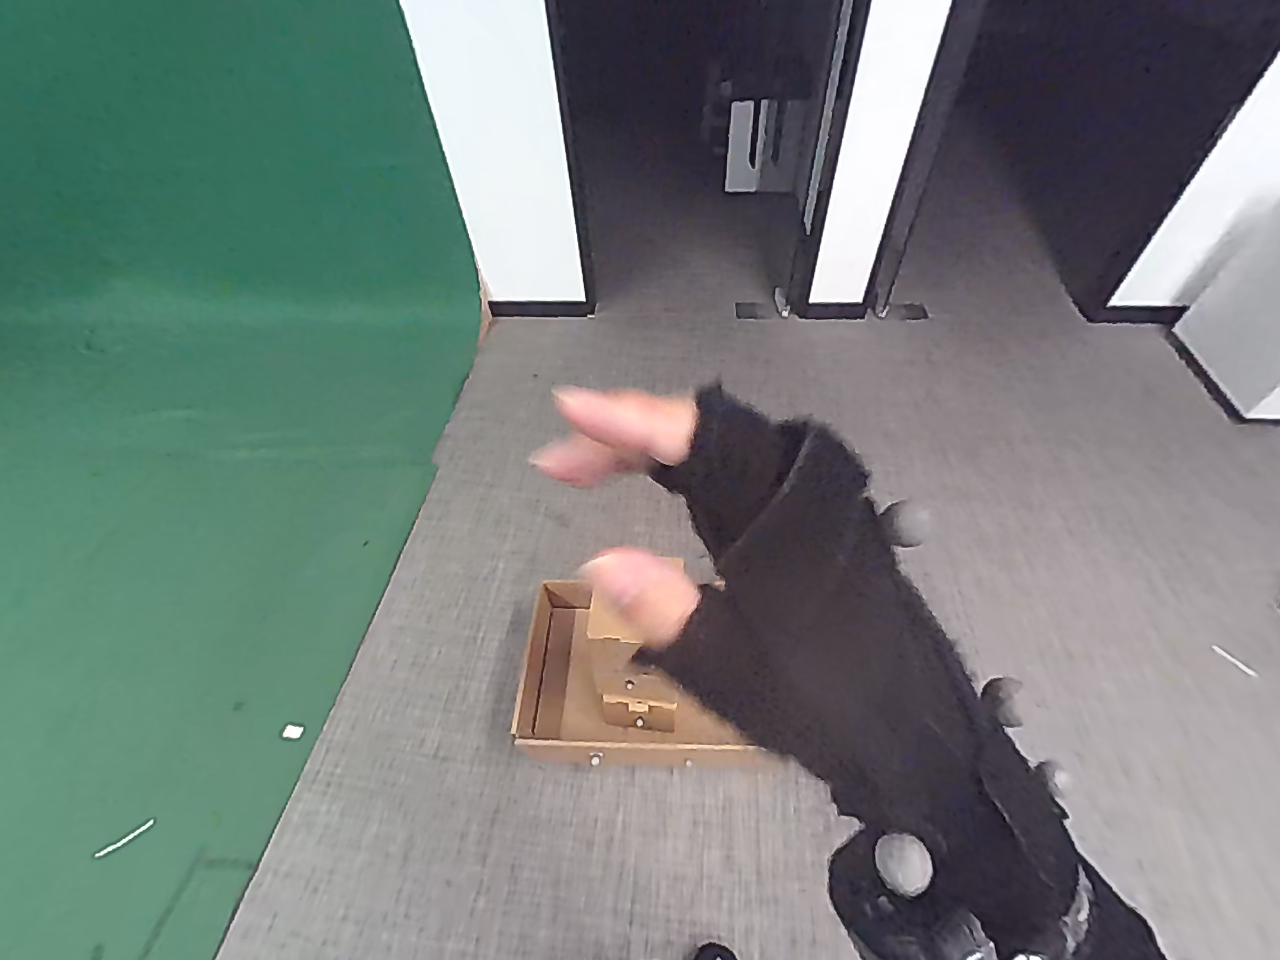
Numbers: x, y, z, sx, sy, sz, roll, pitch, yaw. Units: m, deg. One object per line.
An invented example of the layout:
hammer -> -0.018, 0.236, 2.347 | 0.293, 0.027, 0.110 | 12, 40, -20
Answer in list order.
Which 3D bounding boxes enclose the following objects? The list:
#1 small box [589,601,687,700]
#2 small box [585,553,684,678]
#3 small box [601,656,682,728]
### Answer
small box -> 0.003, 0.361, 1.171 | 0.179, 0.176, 0.168 | 6, 50, 9
small box -> -0.004, 0.263, 1.041 | 0.168, 0.176, 0.179 | 4, 48, 4
small box -> 0.011, 0.475, 1.290 | 0.168, 0.176, 0.179 | 5, 51, 7
